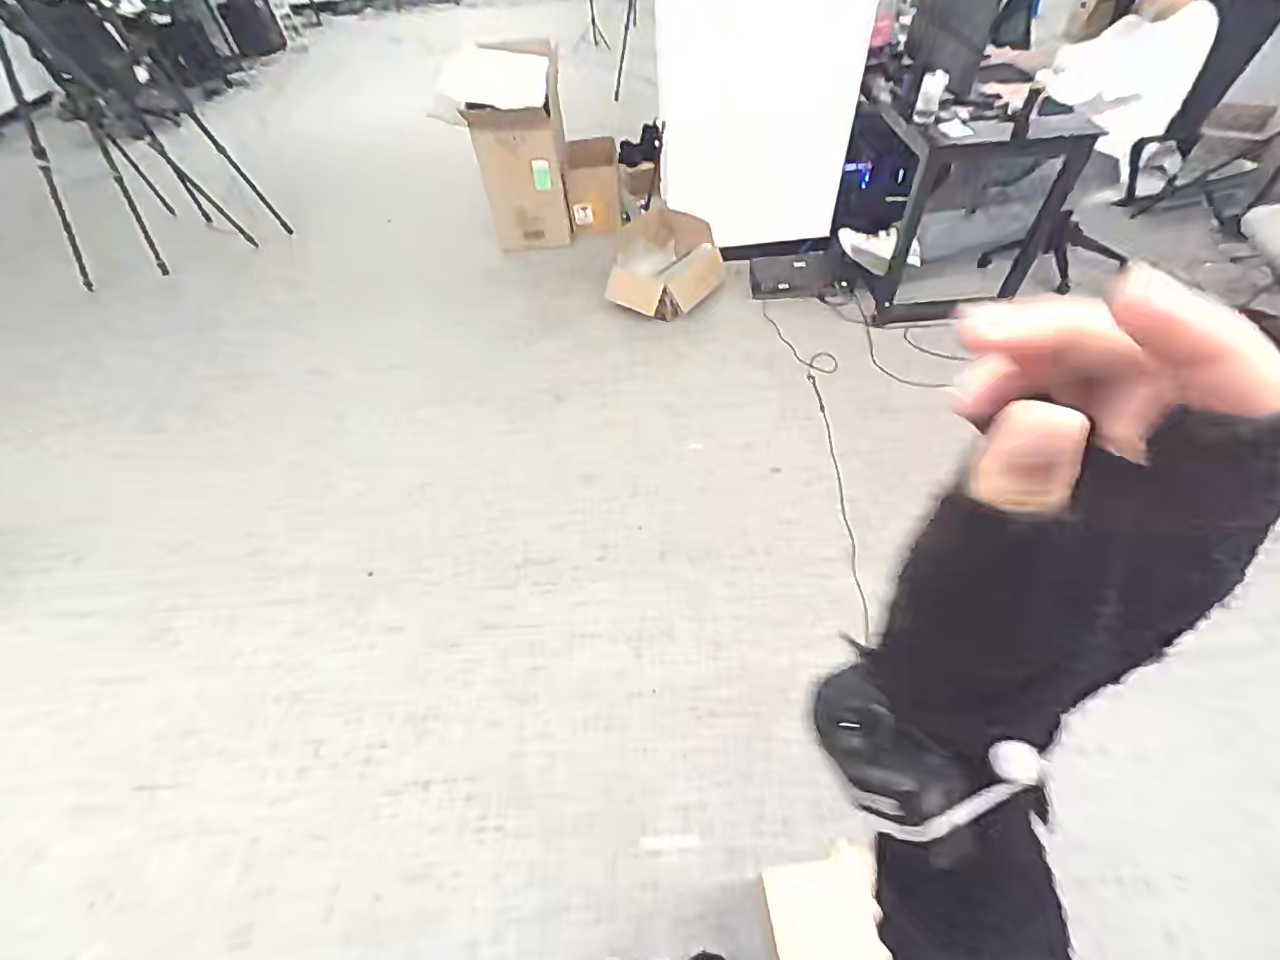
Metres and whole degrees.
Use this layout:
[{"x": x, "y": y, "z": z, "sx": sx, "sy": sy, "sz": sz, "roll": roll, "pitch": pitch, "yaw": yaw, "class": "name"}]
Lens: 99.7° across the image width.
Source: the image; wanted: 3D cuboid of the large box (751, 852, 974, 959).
[{"x": 0.404, "y": 0.927, "z": 0.951, "sx": 0.320, "sy": 0.320, "sz": 0.408, "roll": -9, "pitch": 51, "yaw": 0, "class": "large box"}]
